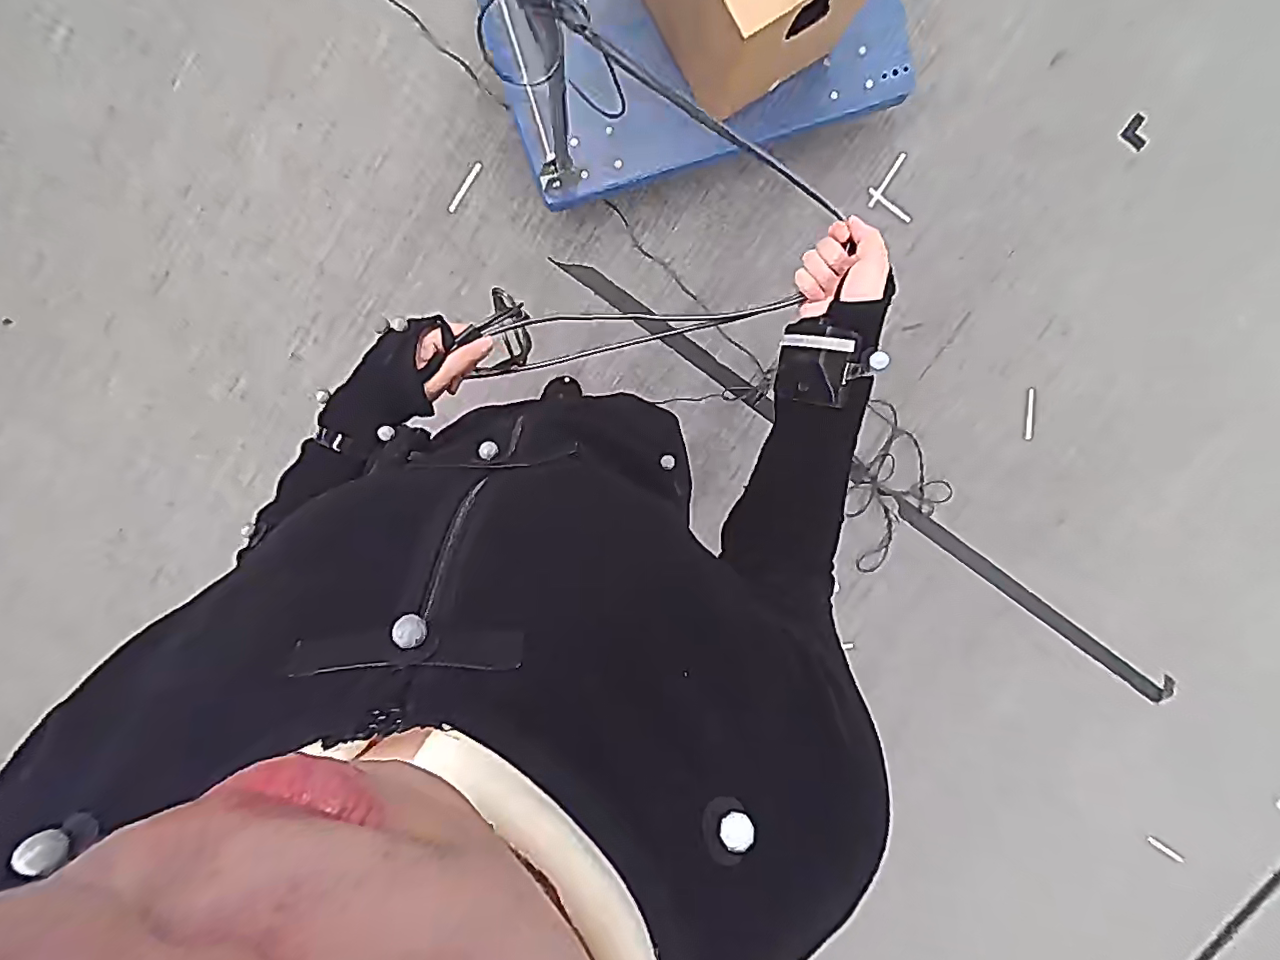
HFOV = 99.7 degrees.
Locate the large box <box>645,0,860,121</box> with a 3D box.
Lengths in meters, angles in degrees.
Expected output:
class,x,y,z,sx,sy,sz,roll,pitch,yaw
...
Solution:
class,x,y,z,sx,sy,sz,roll,pitch,yaw
large box,0.187,-0.994,0.992,0.320,0.320,0.408,-32,101,4
